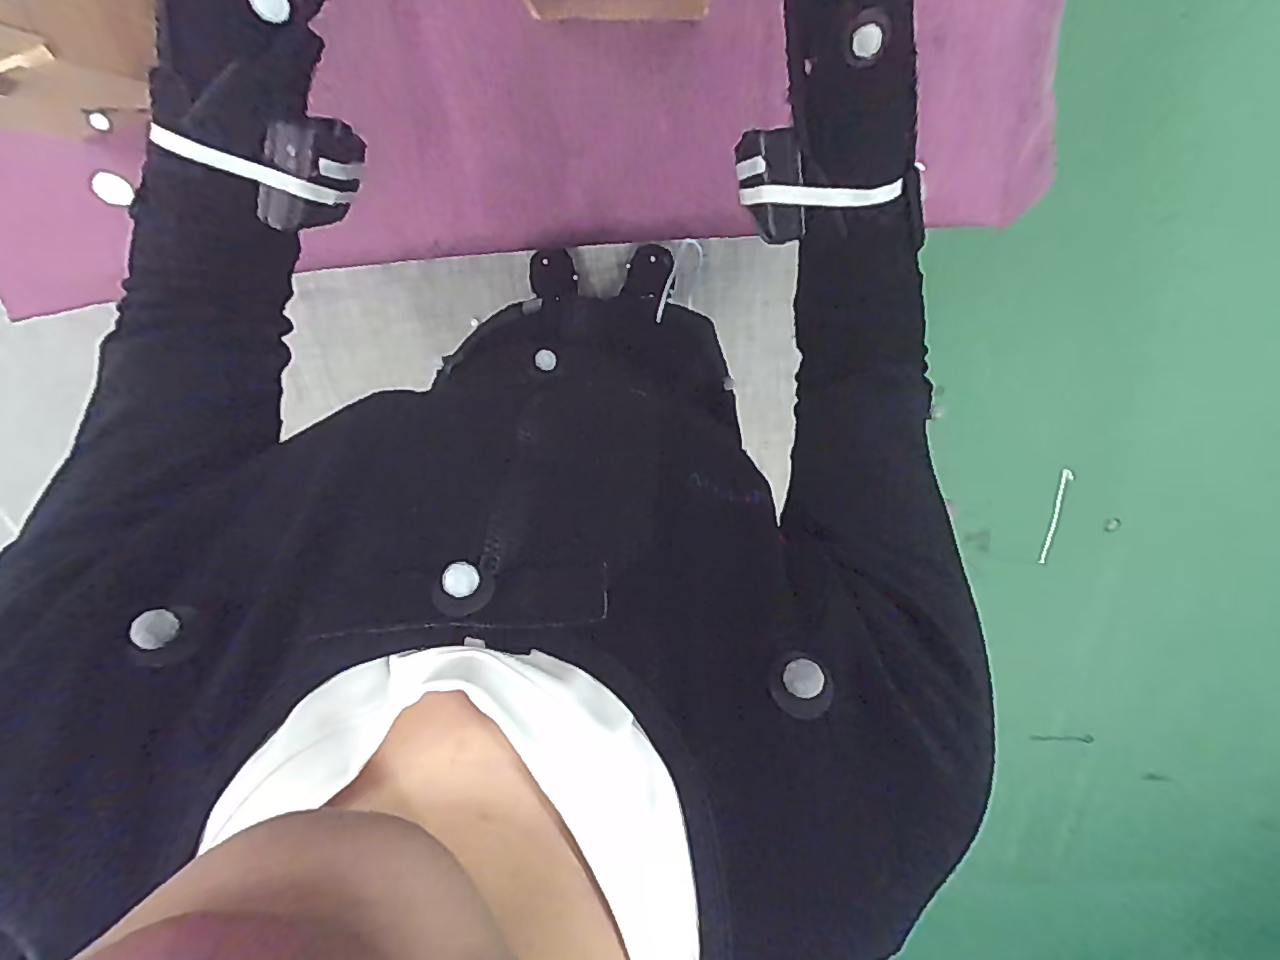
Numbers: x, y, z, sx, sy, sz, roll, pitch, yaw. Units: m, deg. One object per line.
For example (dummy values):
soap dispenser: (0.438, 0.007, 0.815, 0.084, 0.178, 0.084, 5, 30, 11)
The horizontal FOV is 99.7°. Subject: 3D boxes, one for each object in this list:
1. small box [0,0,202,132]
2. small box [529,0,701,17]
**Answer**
small box: (-0.557, -0.435, 0.476, 0.168, 0.176, 0.179, -10, 115, 7)
small box: (-0.026, -0.498, 0.429, 0.179, 0.176, 0.168, 1, 116, 2)
